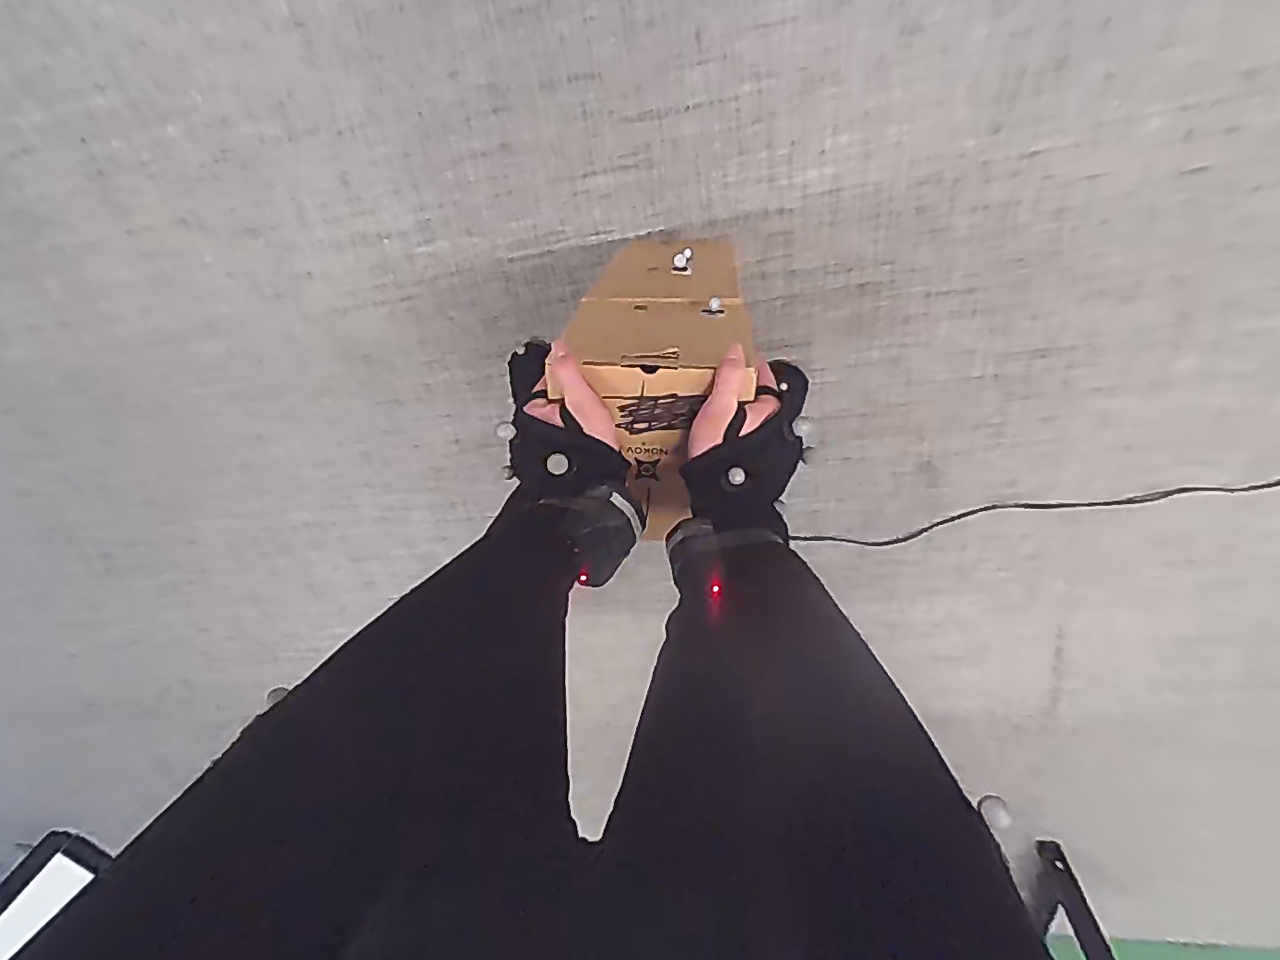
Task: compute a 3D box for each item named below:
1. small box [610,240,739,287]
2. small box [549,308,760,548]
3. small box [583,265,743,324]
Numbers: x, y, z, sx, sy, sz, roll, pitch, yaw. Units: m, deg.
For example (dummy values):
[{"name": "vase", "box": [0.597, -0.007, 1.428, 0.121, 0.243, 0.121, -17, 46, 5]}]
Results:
[{"name": "small box", "box": [0.055, -0.238, 0.788, 0.168, 0.176, 0.179, 4, 124, 7]}, {"name": "small box", "box": [0.018, -0.058, 0.521, 0.168, 0.176, 0.179, 3, 125, 6]}, {"name": "small box", "box": [0.034, -0.150, 0.654, 0.168, 0.176, 0.179, 2, 122, 7]}]
